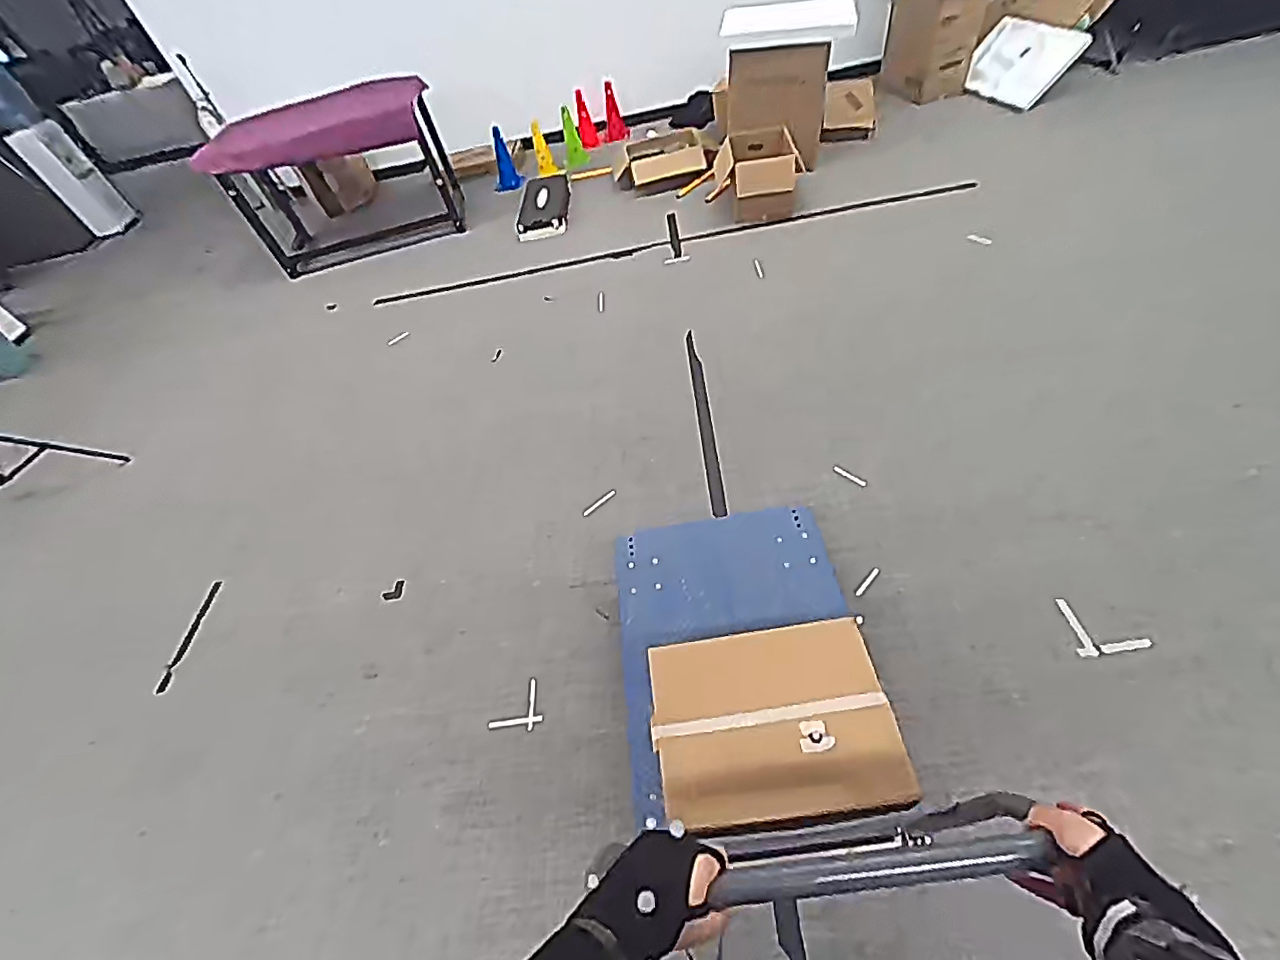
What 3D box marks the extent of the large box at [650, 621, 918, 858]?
[{"bbox_3d":[0.251,0.518,1.067,0.408,0.320,0.320,-10,50,3],"label":"large box"}]
